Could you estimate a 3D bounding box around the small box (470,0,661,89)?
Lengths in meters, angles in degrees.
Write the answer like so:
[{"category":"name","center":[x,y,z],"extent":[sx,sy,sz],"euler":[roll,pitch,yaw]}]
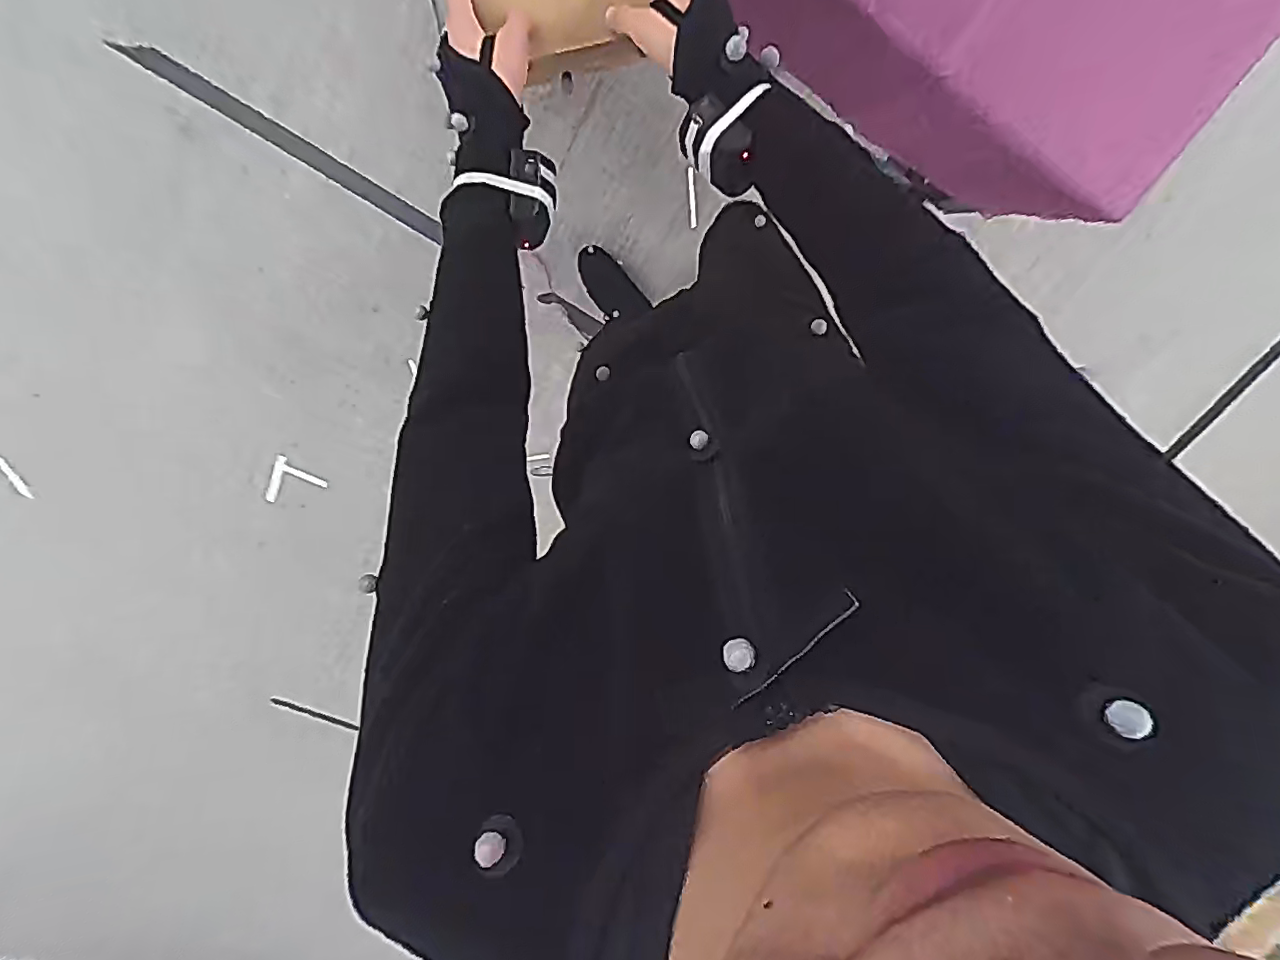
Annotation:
[{"category":"small box","center":[-0.081,-0.502,0.512],"extent":[0.168,0.176,0.179],"euler":[-11,119,2]}]
